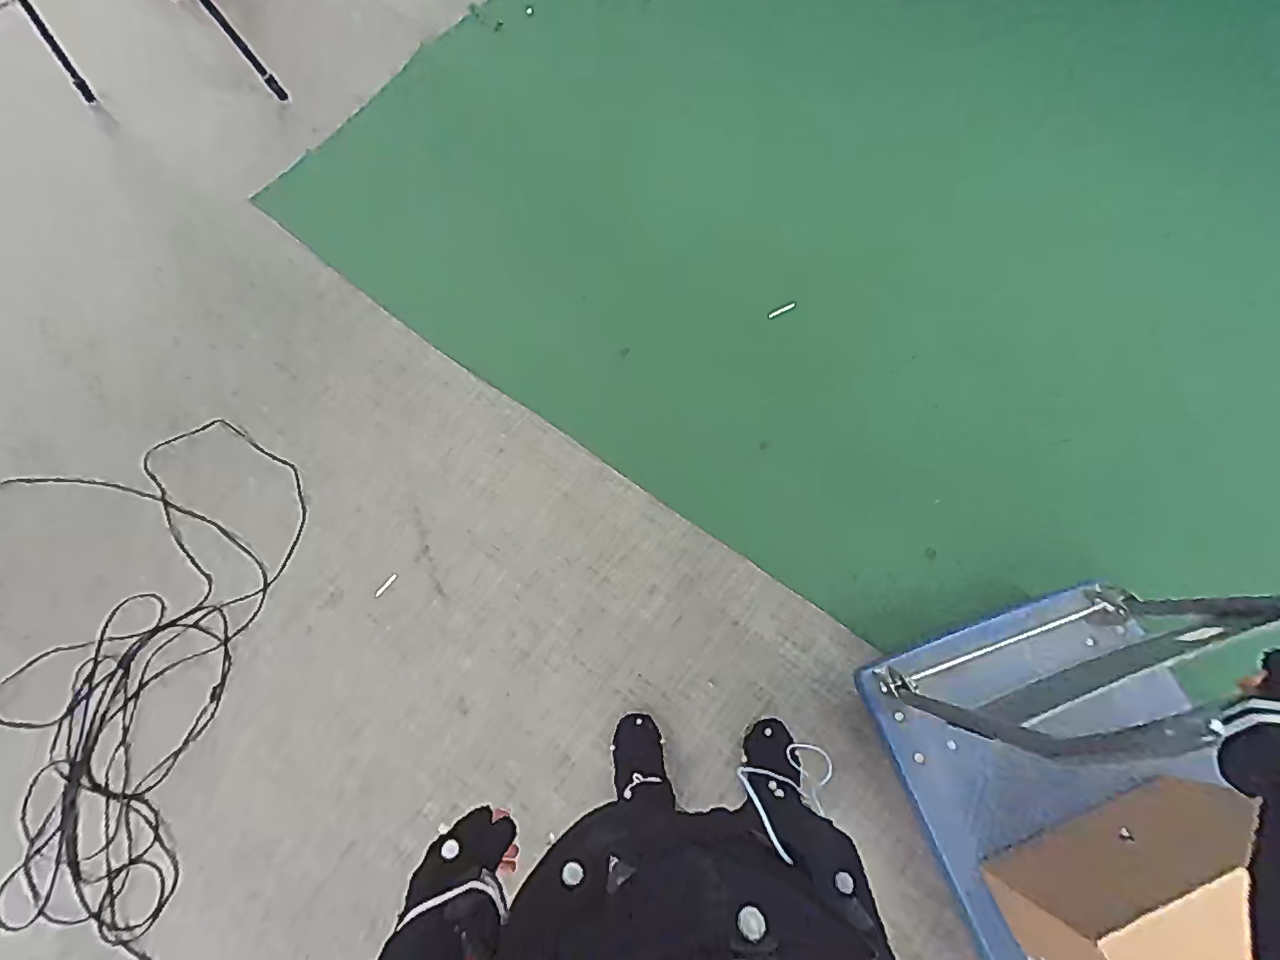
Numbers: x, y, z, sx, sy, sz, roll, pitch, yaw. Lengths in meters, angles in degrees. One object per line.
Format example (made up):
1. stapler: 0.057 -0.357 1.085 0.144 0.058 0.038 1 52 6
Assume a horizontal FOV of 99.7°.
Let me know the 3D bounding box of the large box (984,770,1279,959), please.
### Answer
1. large box: 0.851 0.700 0.816 0.408 0.320 0.320 -24 71 -4
